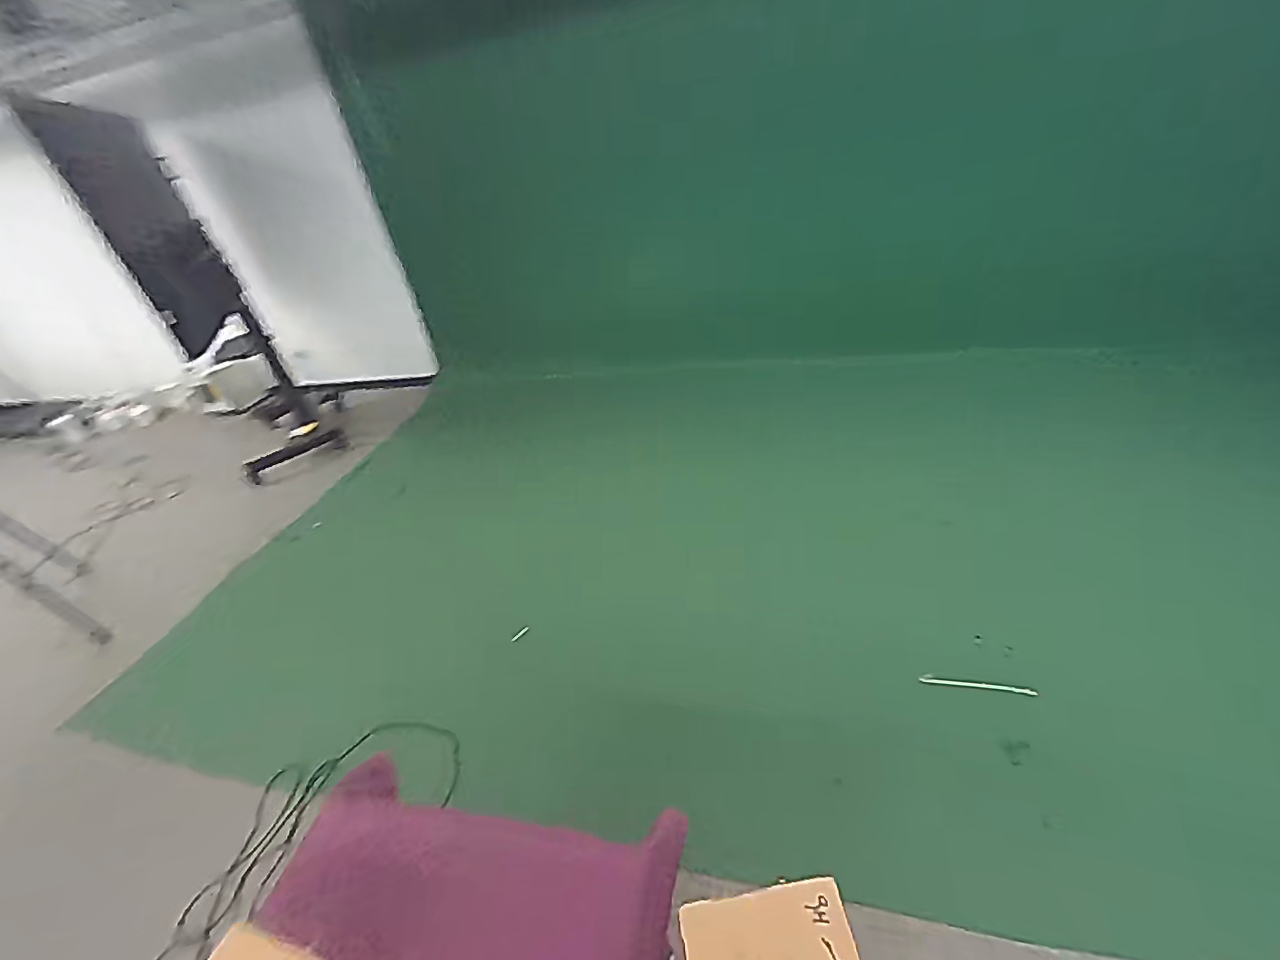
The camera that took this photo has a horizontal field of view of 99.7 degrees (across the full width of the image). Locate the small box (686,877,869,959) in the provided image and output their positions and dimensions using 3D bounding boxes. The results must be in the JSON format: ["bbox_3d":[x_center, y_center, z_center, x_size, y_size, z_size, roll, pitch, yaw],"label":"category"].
[{"bbox_3d":[0.156,0.550,0.554,0.179,0.176,0.168,-14,30,6],"label":"small box"}]

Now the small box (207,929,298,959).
[{"bbox_3d":[-0.454,0.688,0.646,0.179,0.176,0.168,3,37,20],"label":"small box"}]
